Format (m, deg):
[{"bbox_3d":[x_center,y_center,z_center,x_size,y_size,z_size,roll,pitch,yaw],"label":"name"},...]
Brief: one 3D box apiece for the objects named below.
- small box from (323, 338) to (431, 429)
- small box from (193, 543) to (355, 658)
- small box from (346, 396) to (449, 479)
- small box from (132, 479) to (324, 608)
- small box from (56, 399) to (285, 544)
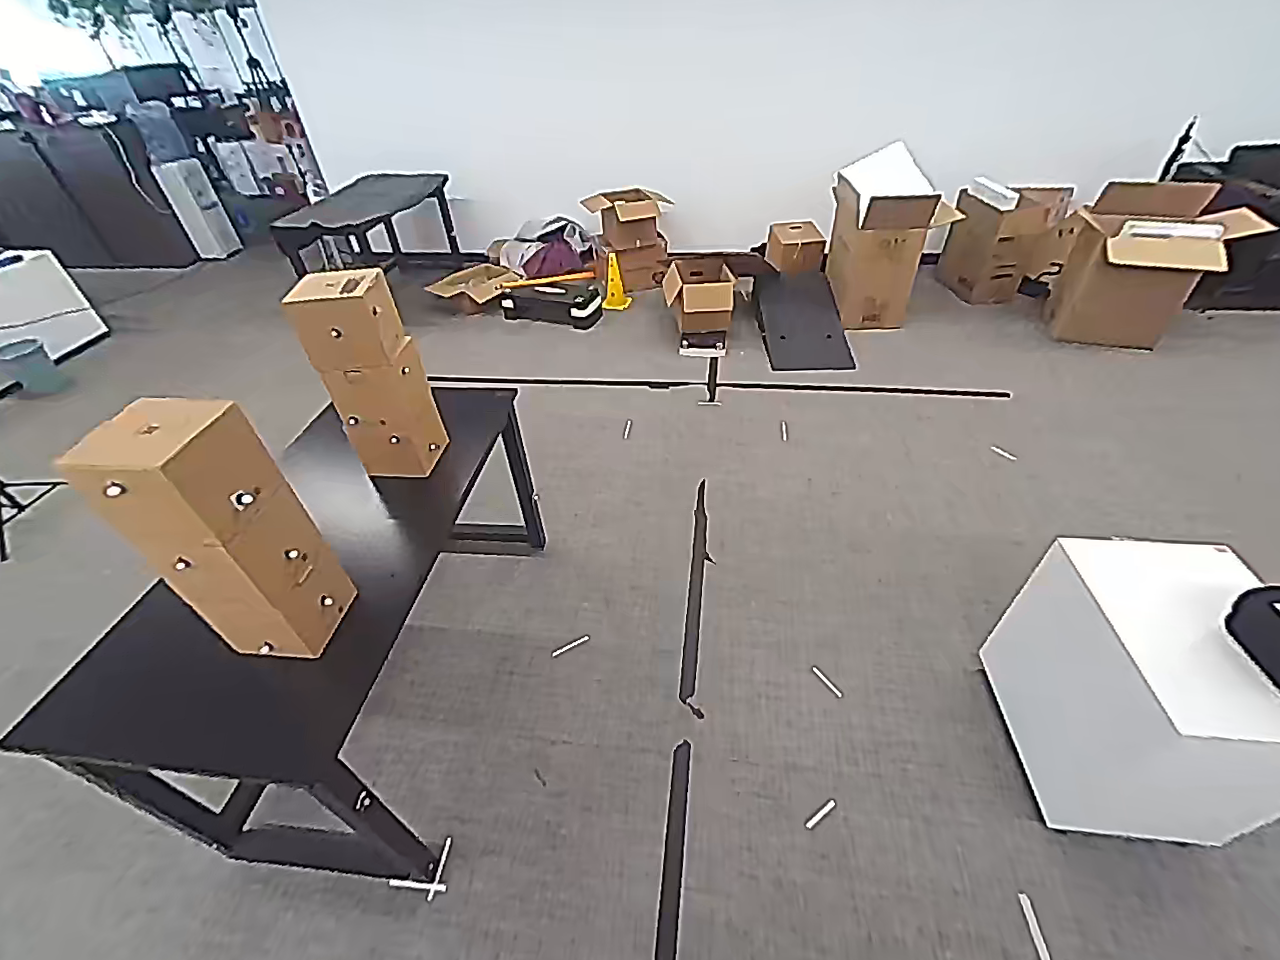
[{"bbox_3d":[-0.649,-0.241,1.363,0.168,0.176,0.179,0,41,3],"label":"small box"},{"bbox_3d":[-0.706,0.235,1.070,0.179,0.176,0.168,2,41,5],"label":"small box"},{"bbox_3d":[-0.649,-0.117,1.471,0.179,0.176,0.168,2,41,6],"label":"small box"},{"bbox_3d":[-0.714,0.110,0.962,0.179,0.176,0.168,2,42,6],"label":"small box"},{"bbox_3d":[-0.721,-0.013,0.856,0.179,0.176,0.168,2,42,6],"label":"small box"}]
